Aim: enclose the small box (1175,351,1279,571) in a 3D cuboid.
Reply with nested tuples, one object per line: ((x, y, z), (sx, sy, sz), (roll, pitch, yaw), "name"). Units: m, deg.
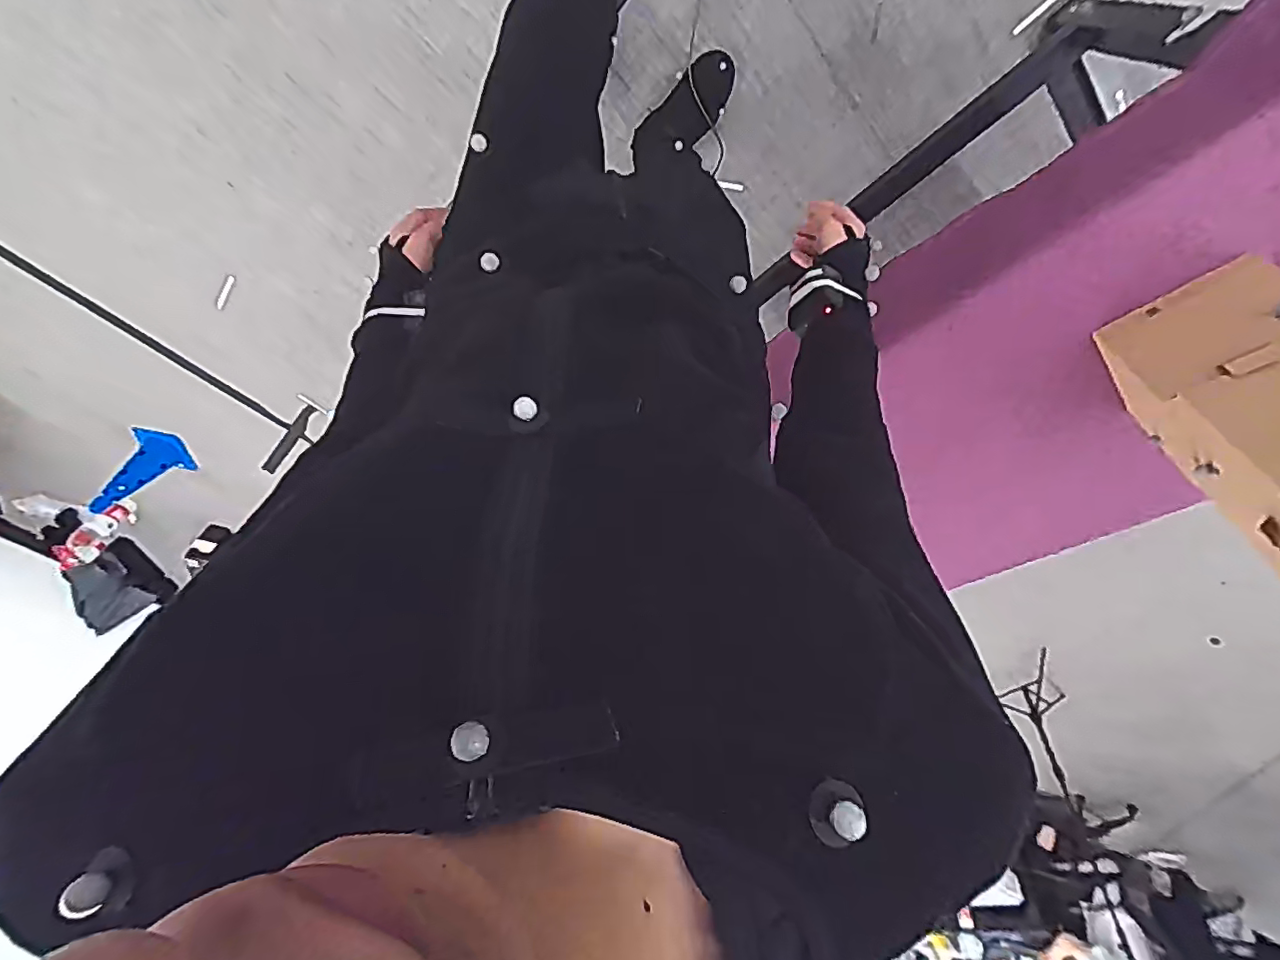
((0.717, -0.036, 0.557), (0.179, 0.176, 0.168), (-26, 124, 29), "small box")
